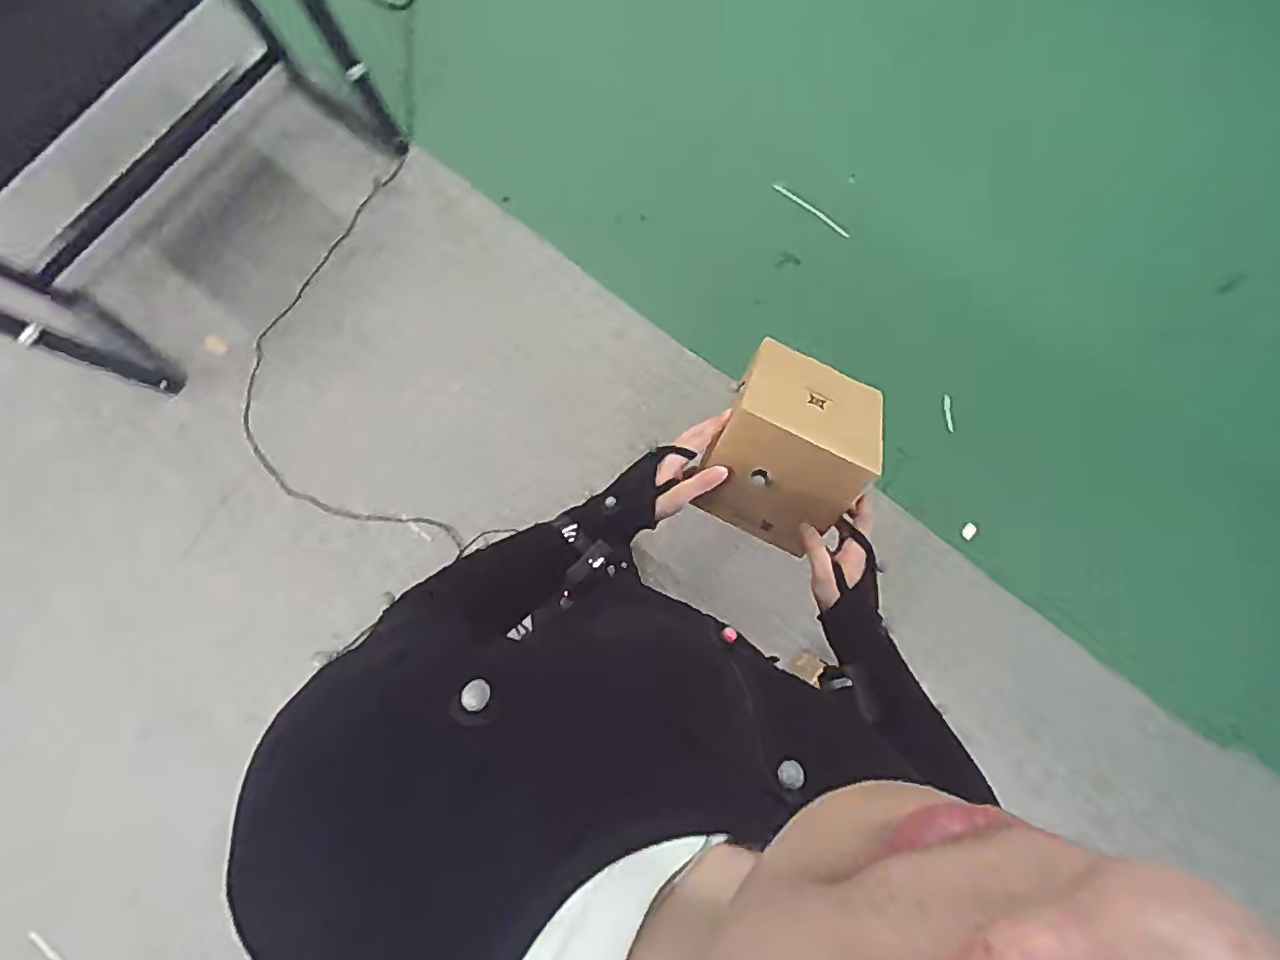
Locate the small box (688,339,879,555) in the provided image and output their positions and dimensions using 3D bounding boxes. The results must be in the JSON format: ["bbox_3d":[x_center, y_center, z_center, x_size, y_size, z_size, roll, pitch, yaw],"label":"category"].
[{"bbox_3d":[0.174,-0.038,0.673,0.168,0.176,0.179,26,43,1],"label":"small box"}]
